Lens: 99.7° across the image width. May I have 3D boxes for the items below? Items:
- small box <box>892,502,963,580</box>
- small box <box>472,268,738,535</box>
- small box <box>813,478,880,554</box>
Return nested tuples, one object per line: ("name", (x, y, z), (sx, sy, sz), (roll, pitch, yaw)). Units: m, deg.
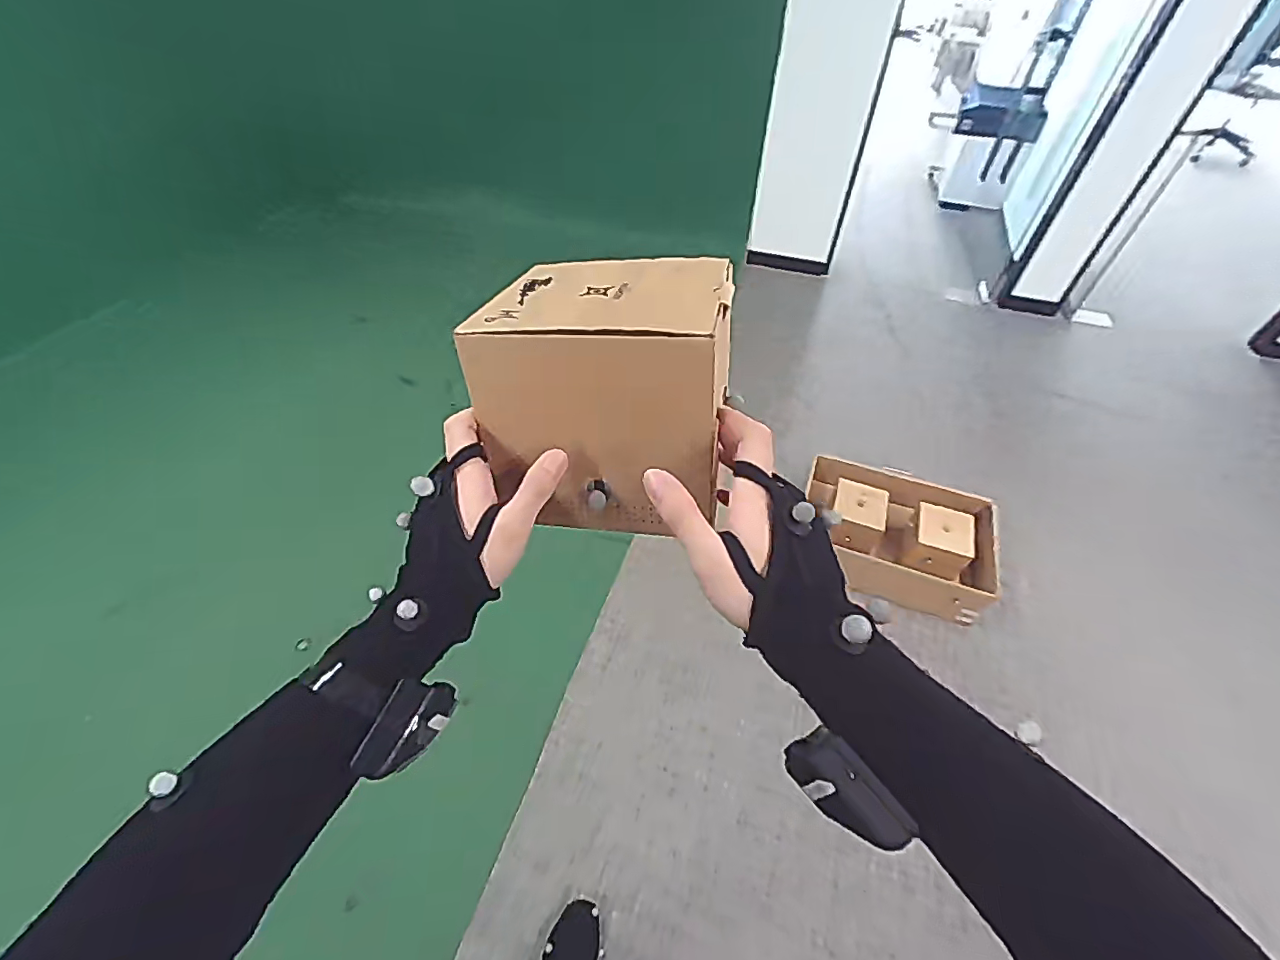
("small box", (0.961, 0.207, 1.815), (0.168, 0.176, 0.179), (16, 51, 12))
("small box", (-0.013, -0.071, 0.465), (0.179, 0.176, 0.168), (5, 37, 10))
("small box", (0.710, 0.129, 1.869), (0.168, 0.176, 0.179), (18, 52, 11))
